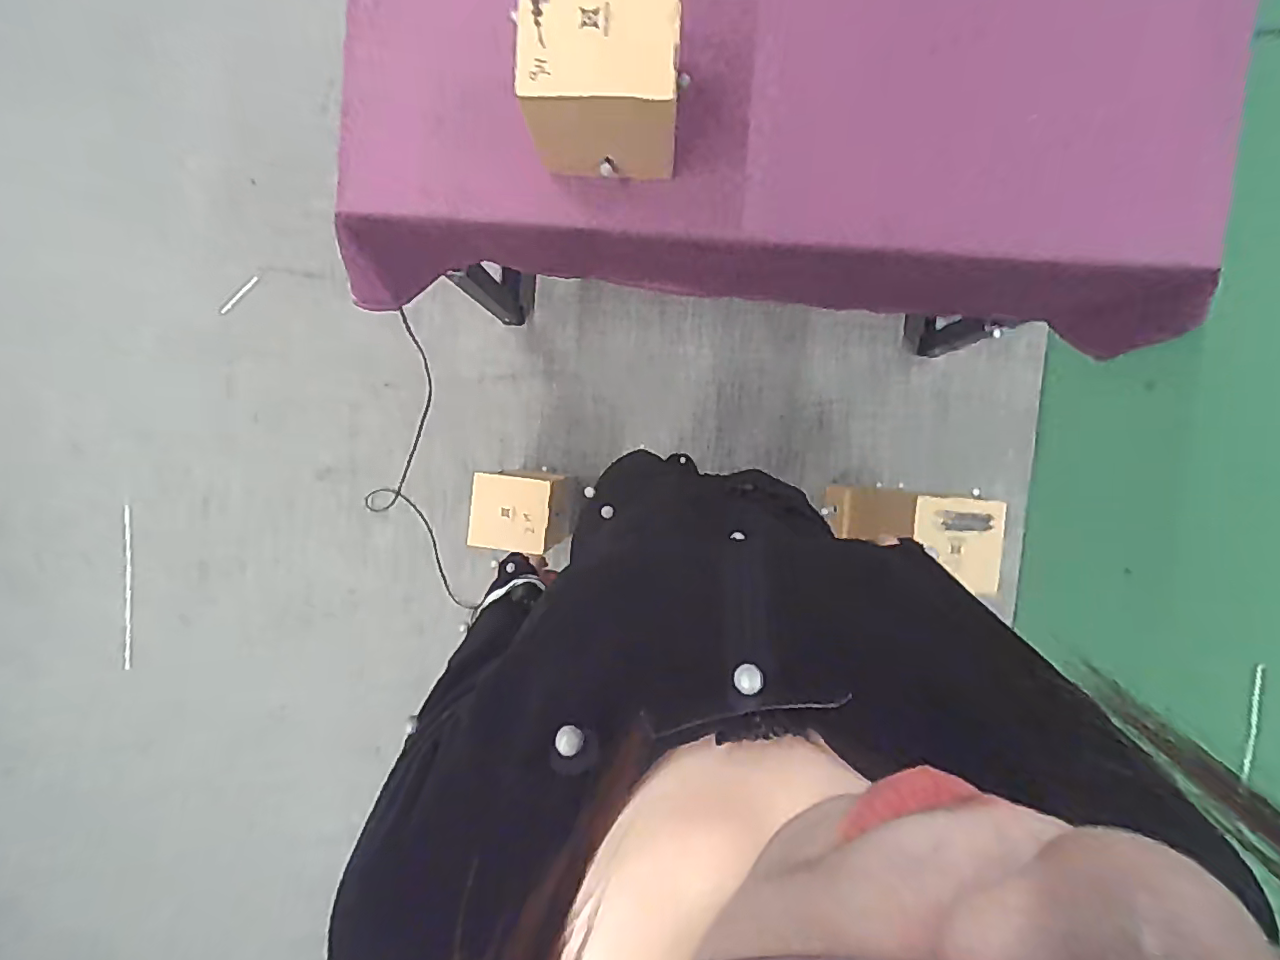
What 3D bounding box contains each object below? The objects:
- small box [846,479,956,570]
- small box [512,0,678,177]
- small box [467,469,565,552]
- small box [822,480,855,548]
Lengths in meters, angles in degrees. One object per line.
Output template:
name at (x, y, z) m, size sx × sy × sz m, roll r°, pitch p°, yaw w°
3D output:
small box at (0.586, 0.096, 1.236) m, size 0.168 × 0.176 × 0.179 m, roll 5°, pitch 93°, yaw 0°
small box at (-0.047, -0.496, 0.662) m, size 0.179 × 0.176 × 0.168 m, roll 3°, pitch 92°, yaw 1°
small box at (-0.284, 0.066, 1.266) m, size 0.179 × 0.176 × 0.168 m, roll 7°, pitch 93°, yaw 2°
small box at (0.583, 0.087, 1.399) m, size 0.179 × 0.176 × 0.168 m, roll 2°, pitch 93°, yaw 2°
